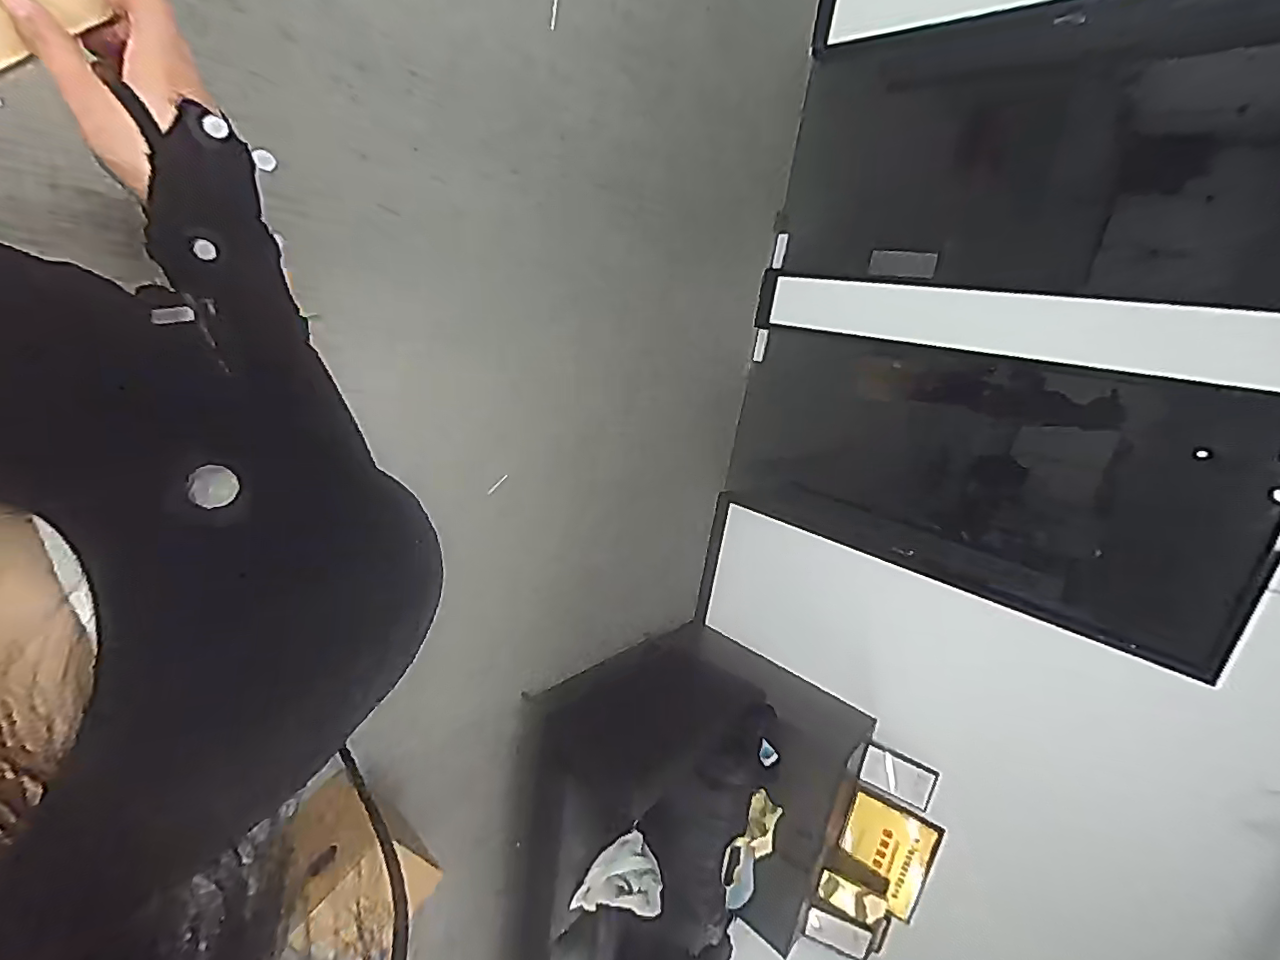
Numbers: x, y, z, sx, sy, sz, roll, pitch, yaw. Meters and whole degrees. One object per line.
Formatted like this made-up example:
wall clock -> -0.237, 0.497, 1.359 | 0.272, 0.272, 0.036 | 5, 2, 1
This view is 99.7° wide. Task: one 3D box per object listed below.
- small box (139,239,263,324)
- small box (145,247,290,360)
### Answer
small box -> -0.877, -0.374, 1.084 | 0.168, 0.176, 0.179 | -8, 113, -49
small box -> -0.763, -0.319, 0.981 | 0.179, 0.176, 0.168 | -8, 112, -48
